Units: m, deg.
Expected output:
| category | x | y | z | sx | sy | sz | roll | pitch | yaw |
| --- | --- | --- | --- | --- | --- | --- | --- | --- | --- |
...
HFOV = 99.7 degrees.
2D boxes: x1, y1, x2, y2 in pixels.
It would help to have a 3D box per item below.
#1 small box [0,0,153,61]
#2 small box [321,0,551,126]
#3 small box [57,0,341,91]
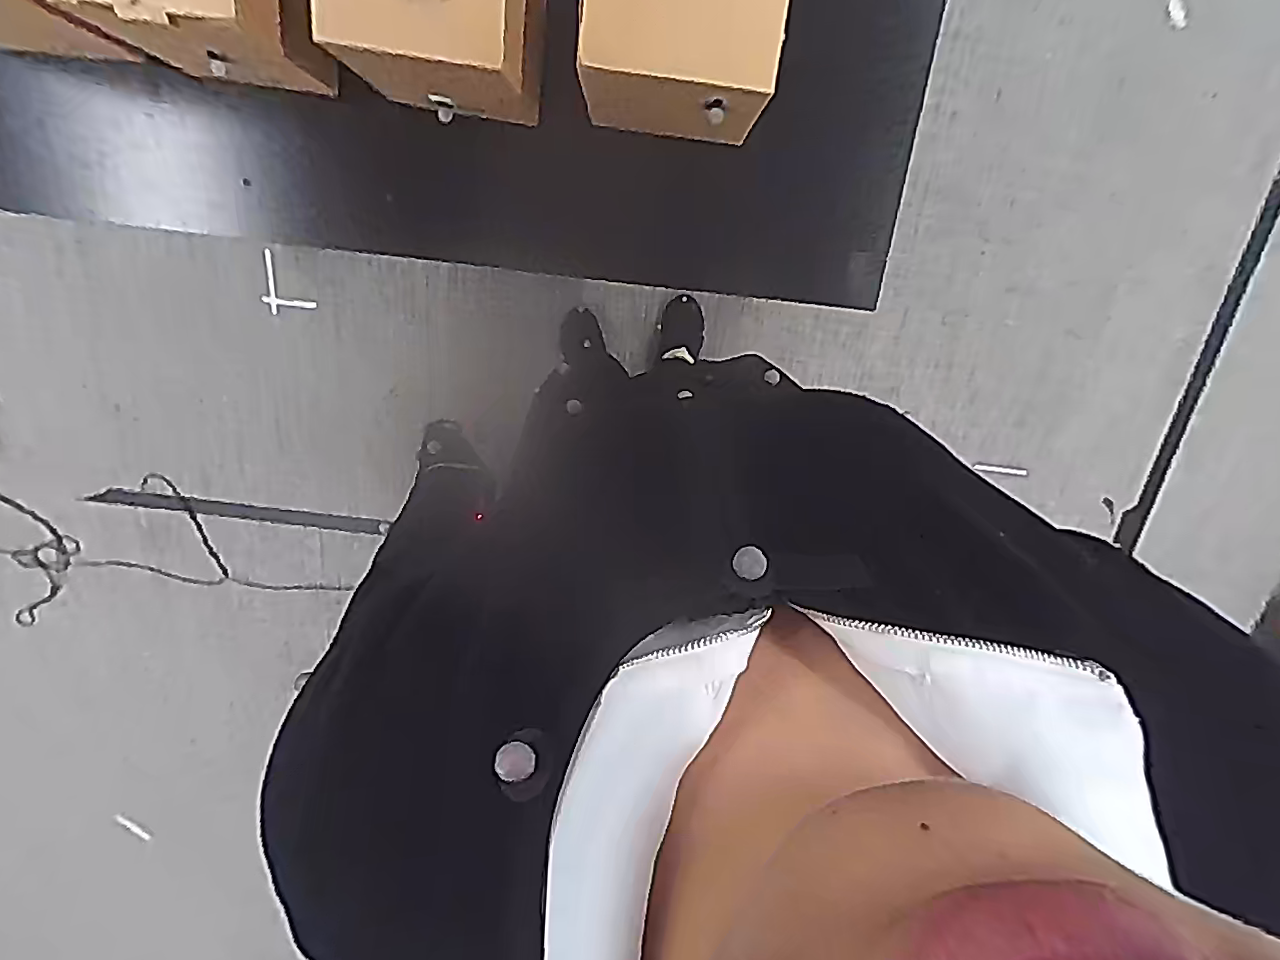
| category | x | y | z | sx | sy | sz | roll | pitch | yaw |
| --- | --- | --- | --- | --- | --- | --- | --- | --- | --- |
| small box | -0.621 | -0.525 | 0.503 | 0.179 | 0.176 | 0.168 | 4 | 108 | -3 |
| small box | -0.183 | -0.477 | 0.523 | 0.168 | 0.176 | 0.179 | 7 | 109 | -1 |
| small box | -0.407 | -0.503 | 0.512 | 0.168 | 0.176 | 0.179 | 7 | 109 | -2 |
